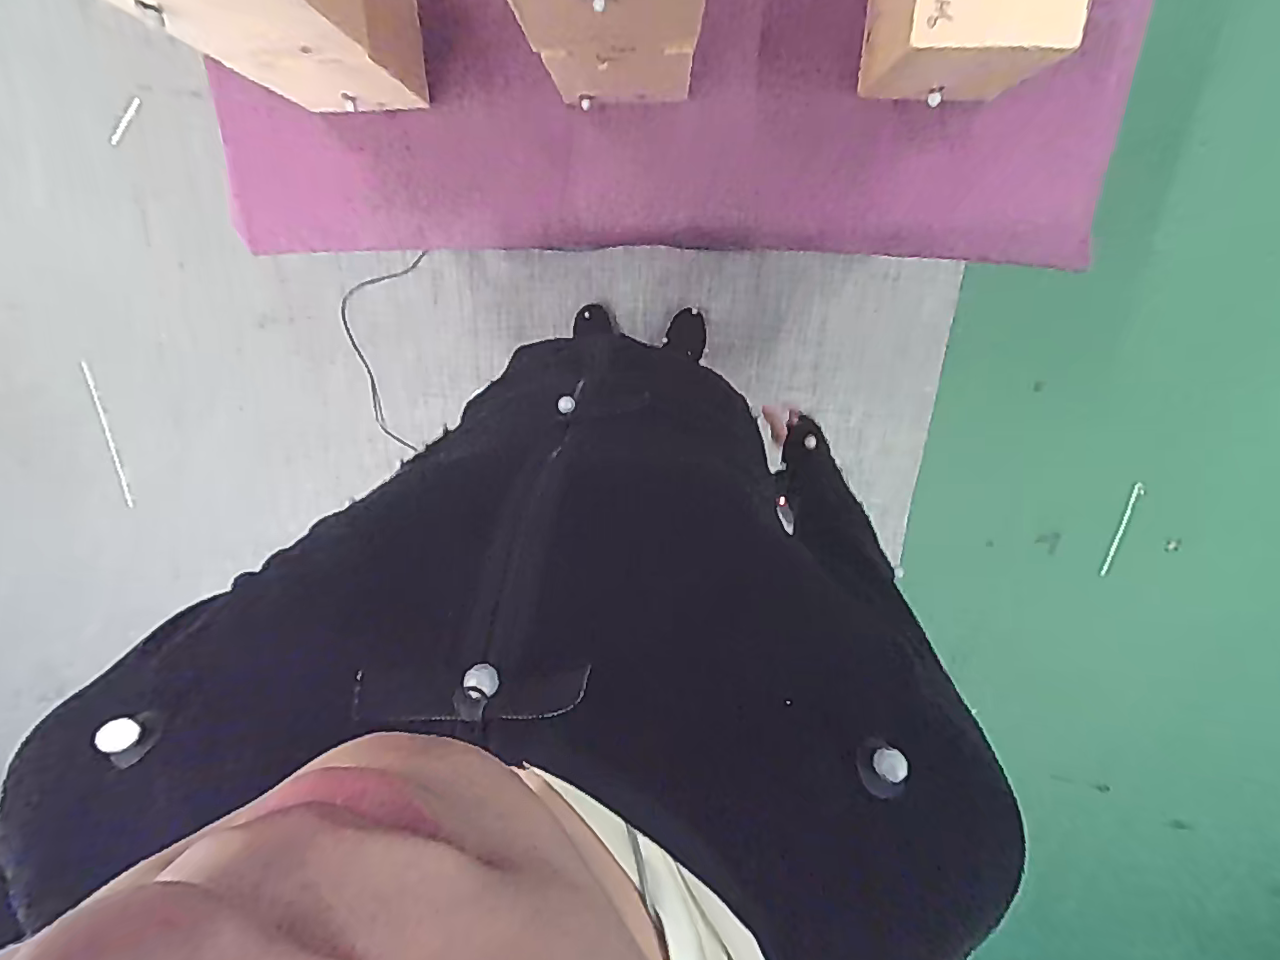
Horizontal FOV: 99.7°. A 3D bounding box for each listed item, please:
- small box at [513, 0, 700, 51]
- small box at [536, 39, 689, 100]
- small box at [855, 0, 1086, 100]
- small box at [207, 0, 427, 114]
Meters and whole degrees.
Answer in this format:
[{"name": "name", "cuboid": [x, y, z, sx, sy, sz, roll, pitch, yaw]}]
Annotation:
[{"name": "small box", "cuboid": [-0.031, -0.500, 0.467, 0.179, 0.176, 0.168, 0, 111, 2]}, {"name": "small box", "cuboid": [-0.025, -0.558, 0.619, 0.168, 0.176, 0.179, 0, 109, 2]}, {"name": "small box", "cuboid": [0.366, -0.549, 0.606, 0.179, 0.176, 0.168, 2, 109, 2]}, {"name": "small box", "cuboid": [-0.371, -0.557, 0.632, 0.168, 0.176, 0.179, -1, 110, 3]}]
